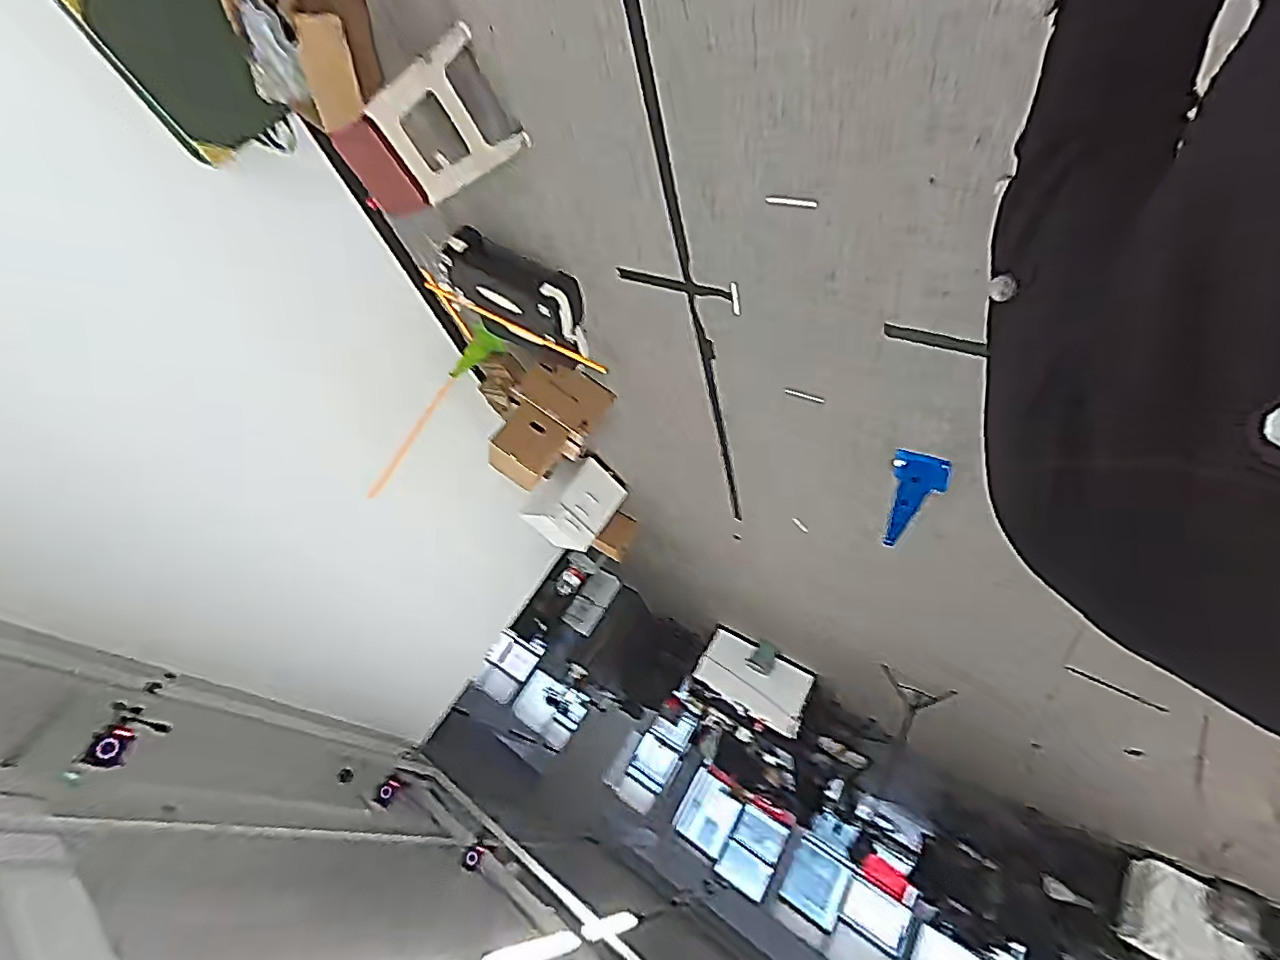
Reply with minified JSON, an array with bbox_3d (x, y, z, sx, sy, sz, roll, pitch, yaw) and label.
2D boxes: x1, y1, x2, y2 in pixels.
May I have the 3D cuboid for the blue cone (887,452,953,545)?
[{"bbox_3d":[1.025,0.093,2.053,0.193,0.380,0.192,20,154,34],"label":"blue cone"}]
